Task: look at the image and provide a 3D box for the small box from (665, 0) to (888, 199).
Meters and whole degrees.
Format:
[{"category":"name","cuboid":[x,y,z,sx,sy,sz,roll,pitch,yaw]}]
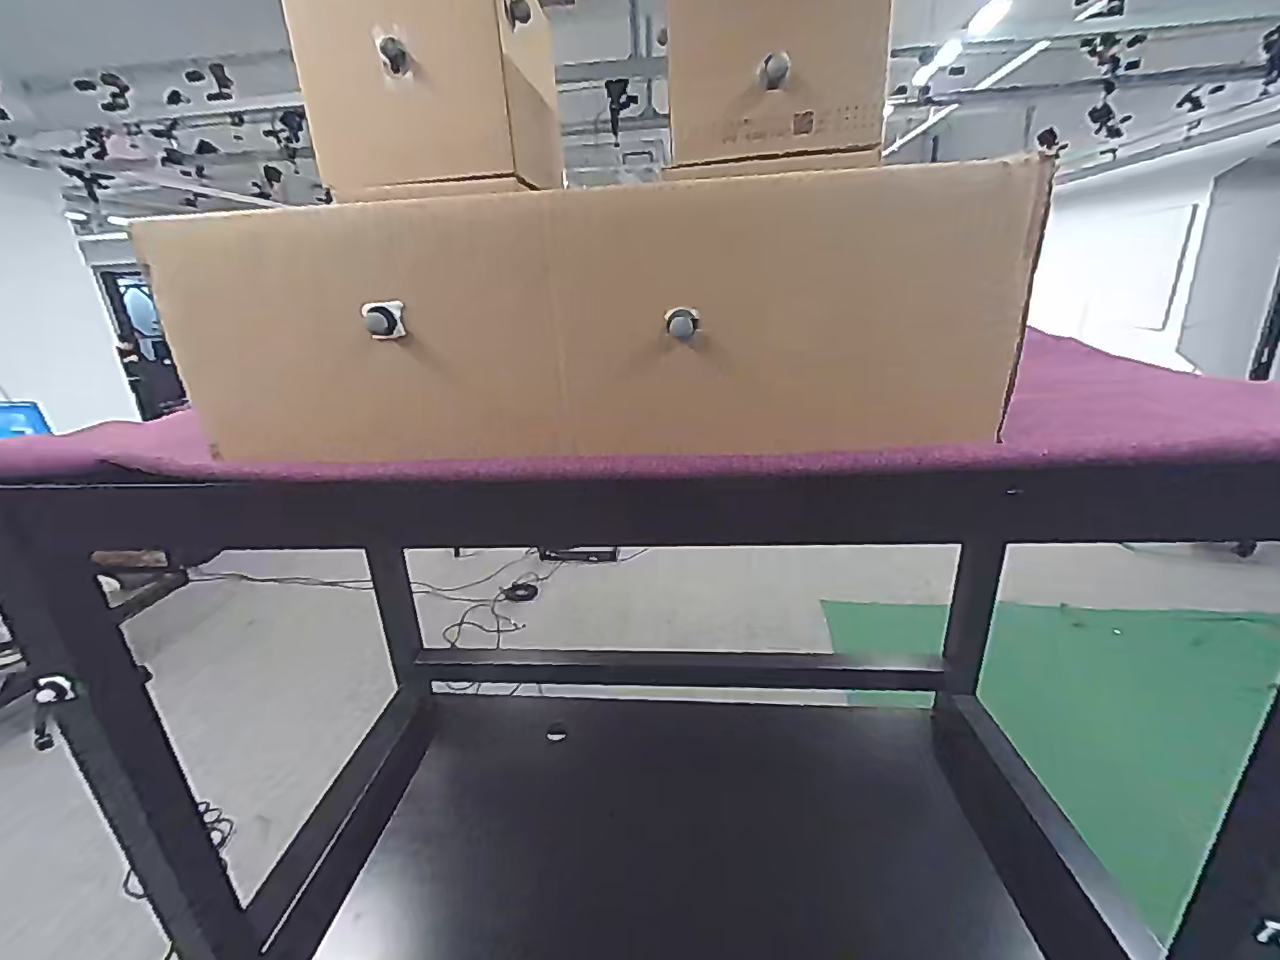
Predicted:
[{"category":"small box","cuboid":[0.111,-0.359,0.482,0.168,0.176,0.179,-2,19,9]}]
